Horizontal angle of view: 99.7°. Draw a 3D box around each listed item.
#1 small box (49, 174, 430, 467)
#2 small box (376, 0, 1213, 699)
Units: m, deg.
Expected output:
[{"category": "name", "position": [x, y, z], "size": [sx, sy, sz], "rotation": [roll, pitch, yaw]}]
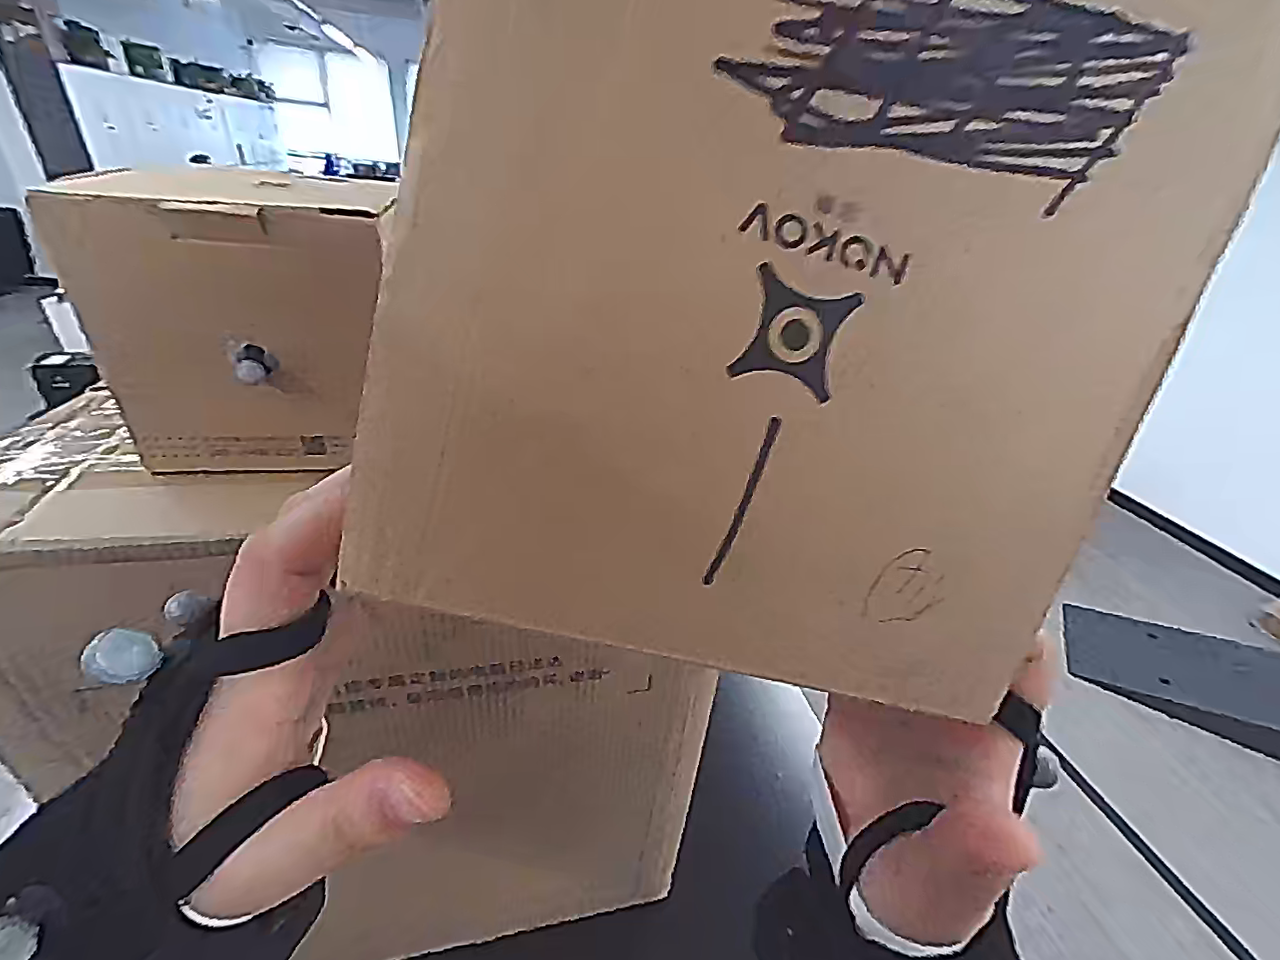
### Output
[{"category": "small box", "position": [-0.251, -0.120, 0.406], "size": [0.168, 0.176, 0.179], "rotation": [-2, 34, -14]}, {"category": "small box", "position": [0.028, -0.054, 0.207], "size": [0.168, 0.179, 0.176], "rotation": [15, 9, -8]}]
